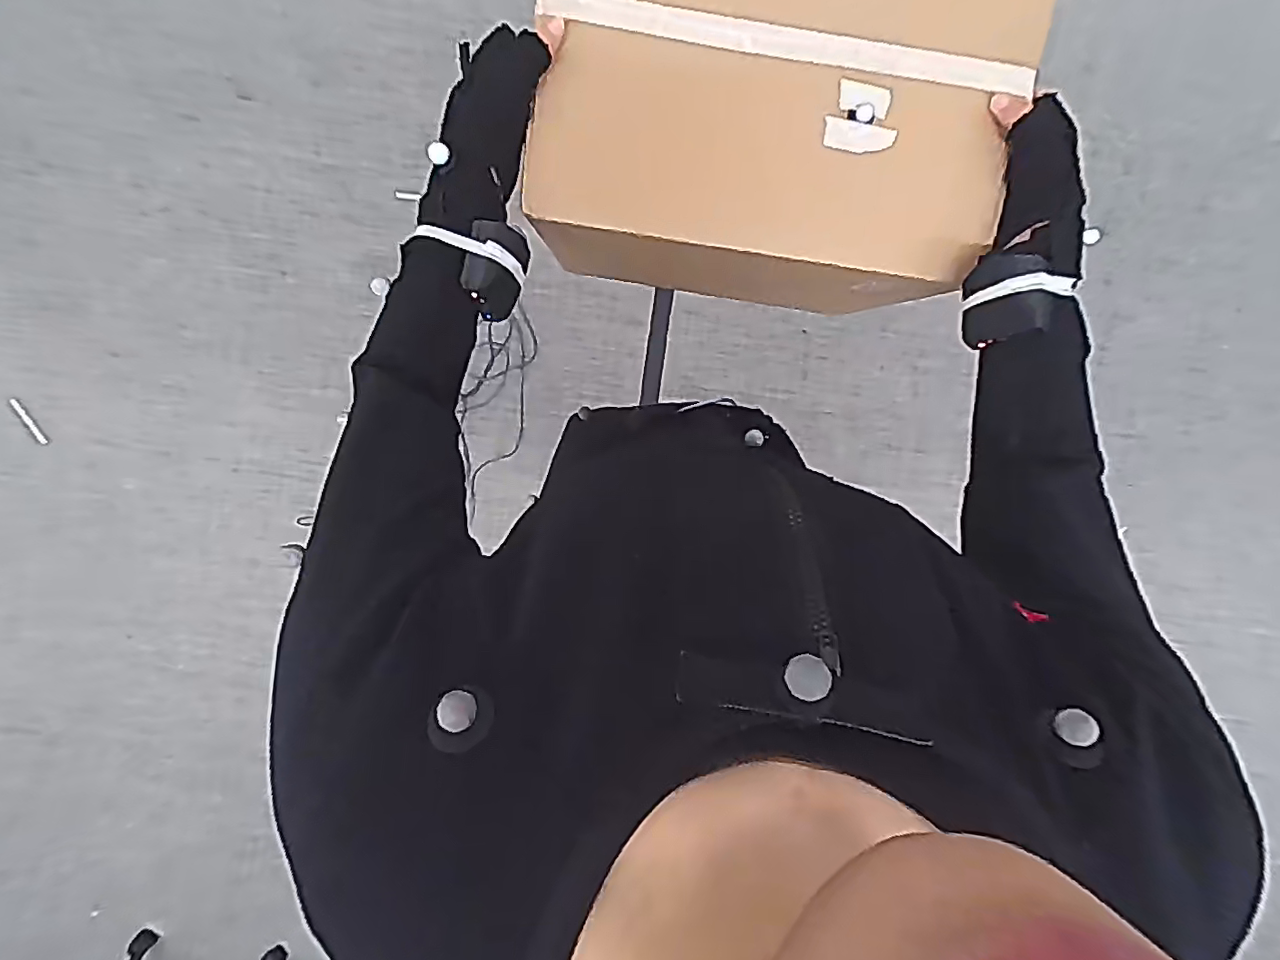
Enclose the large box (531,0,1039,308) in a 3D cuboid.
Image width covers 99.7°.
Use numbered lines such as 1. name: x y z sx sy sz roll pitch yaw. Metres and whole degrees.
1. large box: 0.114 -0.384 0.590 0.408 0.320 0.320 8 104 -4
